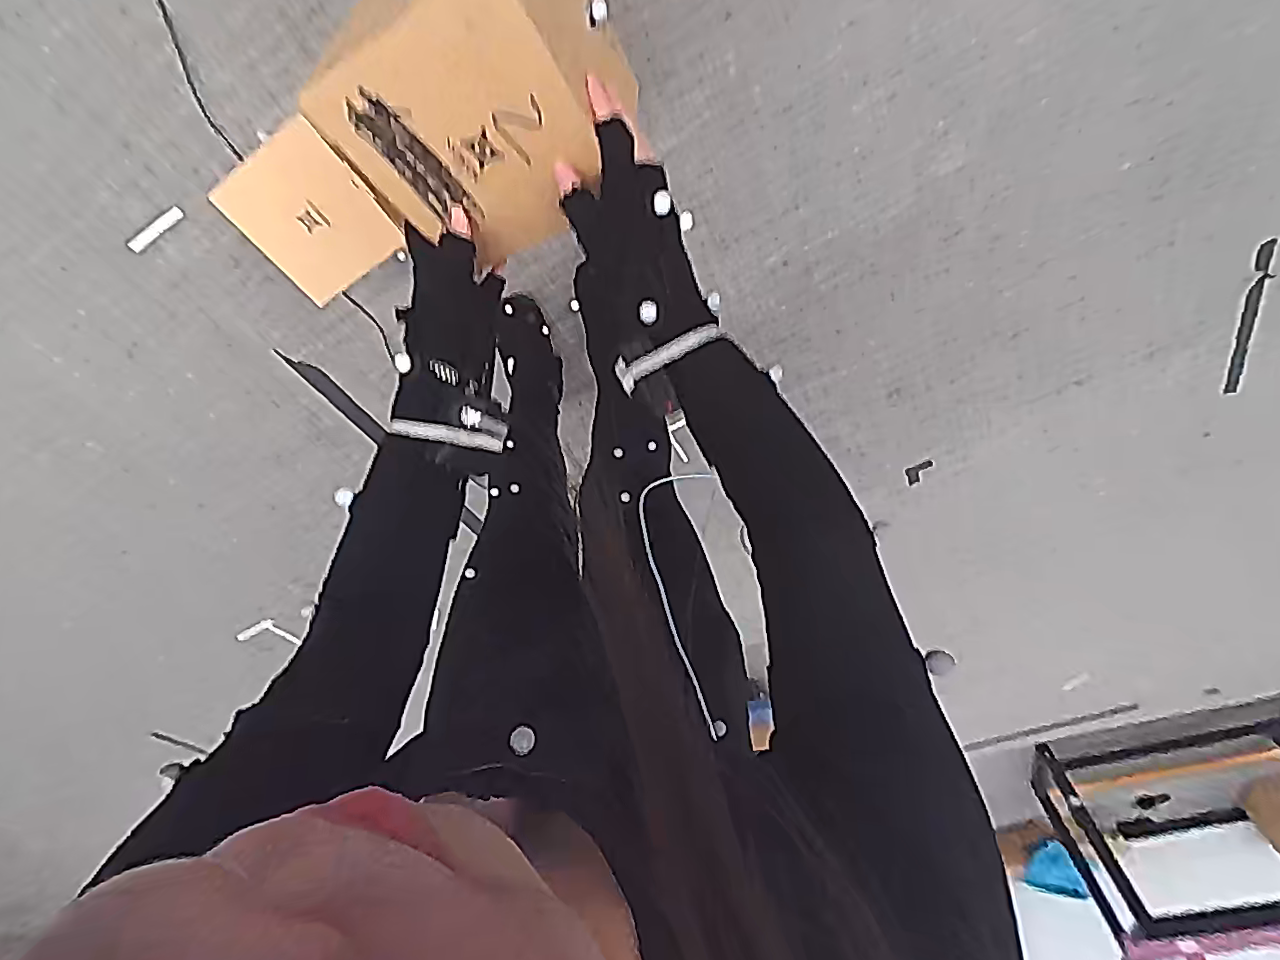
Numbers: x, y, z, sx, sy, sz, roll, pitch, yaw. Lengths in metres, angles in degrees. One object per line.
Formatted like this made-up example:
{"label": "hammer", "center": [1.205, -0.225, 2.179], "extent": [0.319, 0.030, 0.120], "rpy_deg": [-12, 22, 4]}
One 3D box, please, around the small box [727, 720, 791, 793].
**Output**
{"label": "small box", "center": [0.422, 0.992, 1.942], "extent": [0.179, 0.176, 0.168], "rpy_deg": [-21, 129, 13]}

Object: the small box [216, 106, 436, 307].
{"label": "small box", "center": [-0.414, -0.378, 0.747], "extent": [0.179, 0.176, 0.168], "rpy_deg": [-26, 127, 18]}

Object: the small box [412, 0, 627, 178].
{"label": "small box", "center": [-0.134, -0.507, 0.650], "extent": [0.179, 0.176, 0.168], "rpy_deg": [-27, 126, 17]}

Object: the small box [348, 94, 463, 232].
{"label": "small box", "center": [-0.415, -0.487, 0.868], "extent": [0.168, 0.176, 0.179], "rpy_deg": [-22, 129, 16]}
